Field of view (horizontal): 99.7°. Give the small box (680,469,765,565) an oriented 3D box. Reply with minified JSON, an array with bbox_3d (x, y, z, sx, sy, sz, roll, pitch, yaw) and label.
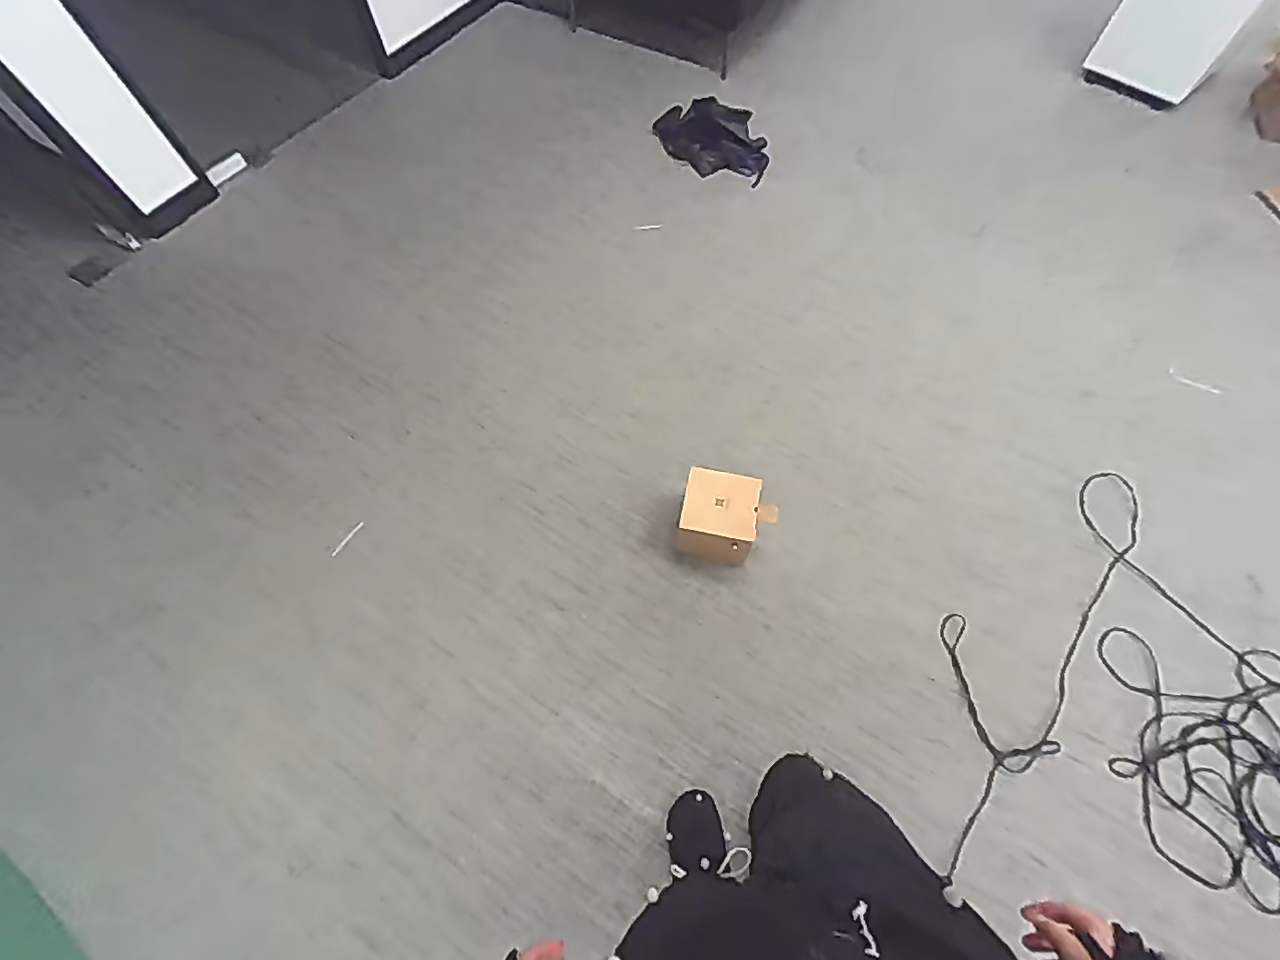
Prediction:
[{"bbox_3d":[0.196,0.095,1.323,0.179,0.176,0.168,11,63,6],"label":"small box"}]
